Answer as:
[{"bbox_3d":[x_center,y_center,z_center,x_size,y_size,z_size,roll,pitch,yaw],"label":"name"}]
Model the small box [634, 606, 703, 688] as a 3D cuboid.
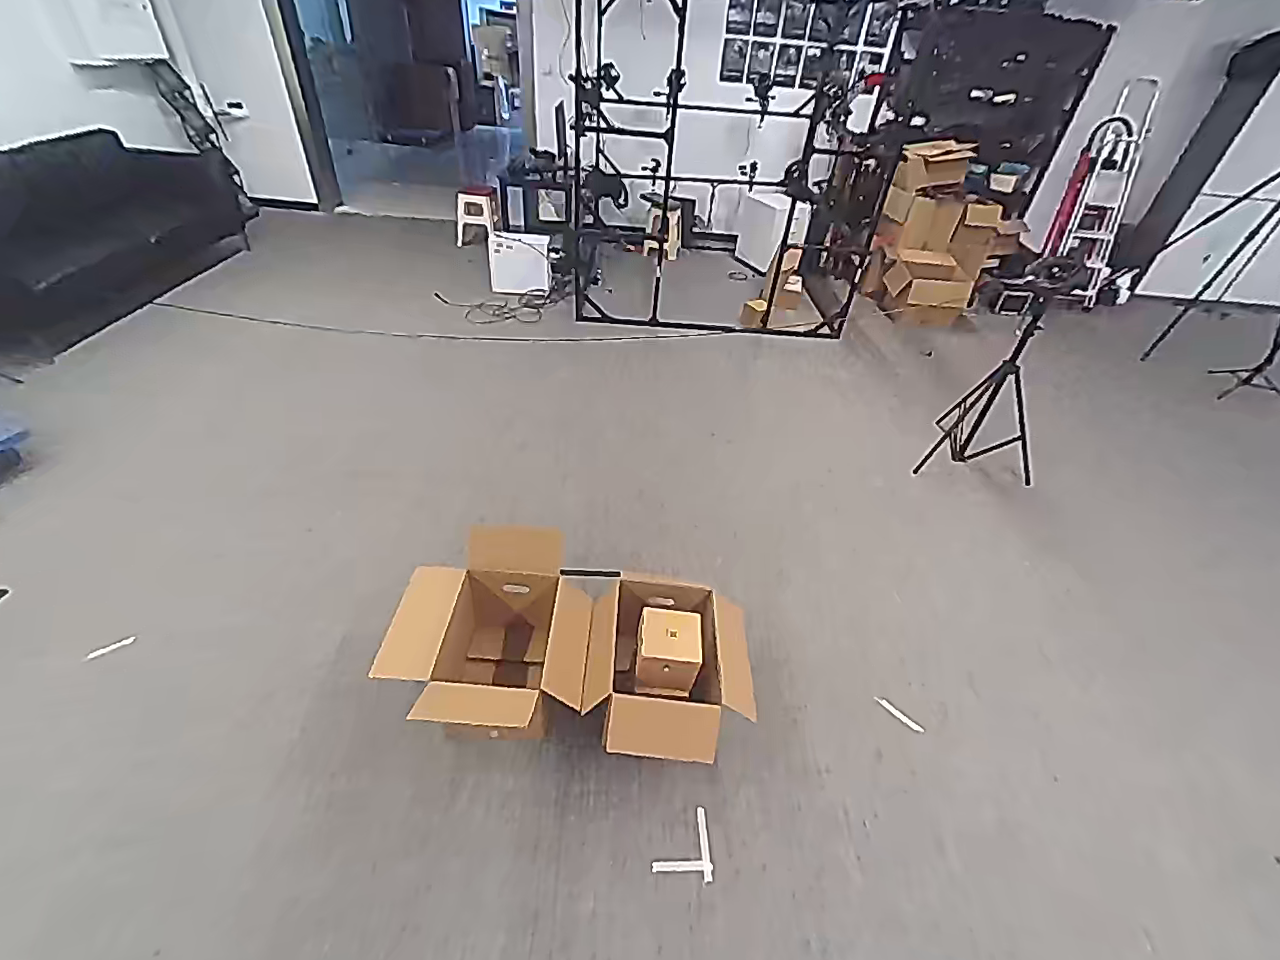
[{"bbox_3d":[0.084,0.502,1.612,0.179,0.176,0.168,7,42,-2],"label":"small box"}]
